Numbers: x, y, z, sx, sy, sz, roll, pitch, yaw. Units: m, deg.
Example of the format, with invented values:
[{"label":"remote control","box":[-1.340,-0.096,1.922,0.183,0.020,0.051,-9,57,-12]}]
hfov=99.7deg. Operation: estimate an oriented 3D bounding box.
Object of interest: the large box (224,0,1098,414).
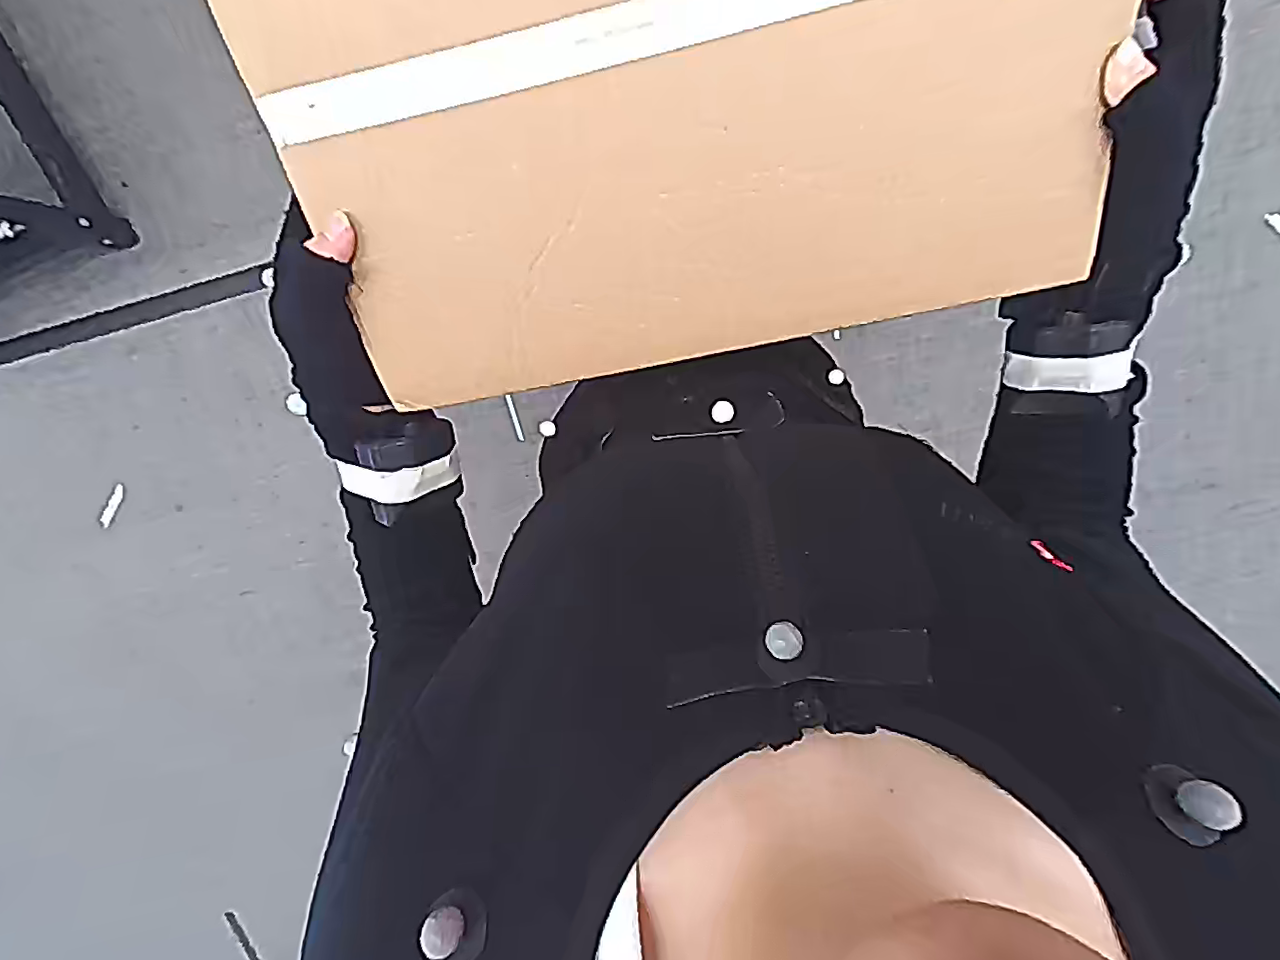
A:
[{"label":"large box","box":[0.015,-0.281,0.386,0.408,0.320,0.320,-10,118,6]}]
